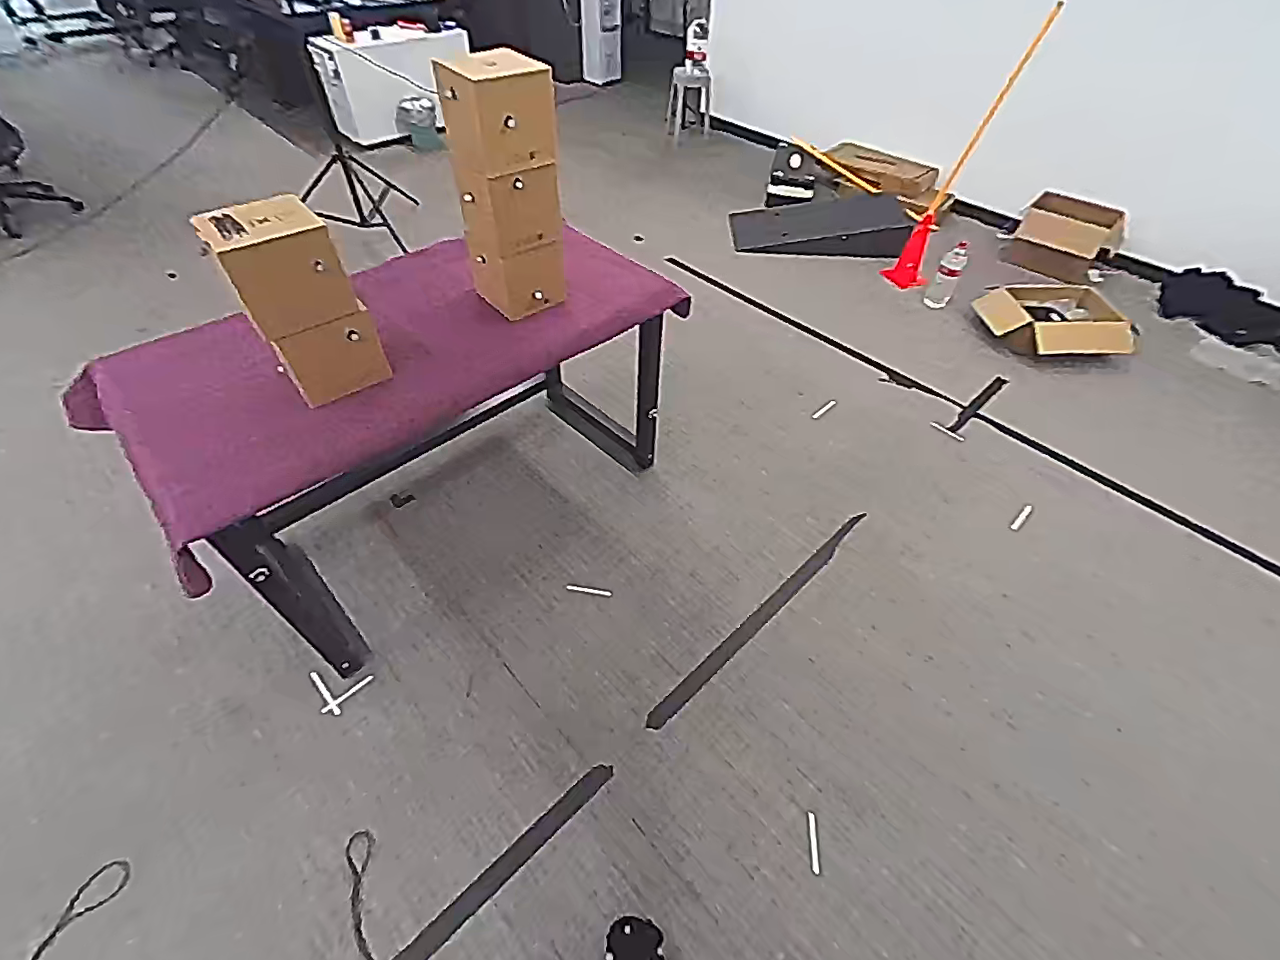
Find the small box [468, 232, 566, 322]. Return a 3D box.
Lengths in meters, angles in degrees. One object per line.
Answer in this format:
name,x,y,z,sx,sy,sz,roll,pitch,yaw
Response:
small box,-0.300,-0.523,1.345,0.168,0.176,0.179,-33,58,-26

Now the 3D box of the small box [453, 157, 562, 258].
small box,-0.293,-0.628,1.220,0.168,0.176,0.179,-31,56,-25

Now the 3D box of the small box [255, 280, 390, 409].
small box,-0.645,-0.280,1.121,0.179,0.176,0.168,-32,56,-26

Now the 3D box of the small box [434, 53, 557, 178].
small box,-0.284,-0.731,1.093,0.168,0.176,0.179,-31,56,-25
